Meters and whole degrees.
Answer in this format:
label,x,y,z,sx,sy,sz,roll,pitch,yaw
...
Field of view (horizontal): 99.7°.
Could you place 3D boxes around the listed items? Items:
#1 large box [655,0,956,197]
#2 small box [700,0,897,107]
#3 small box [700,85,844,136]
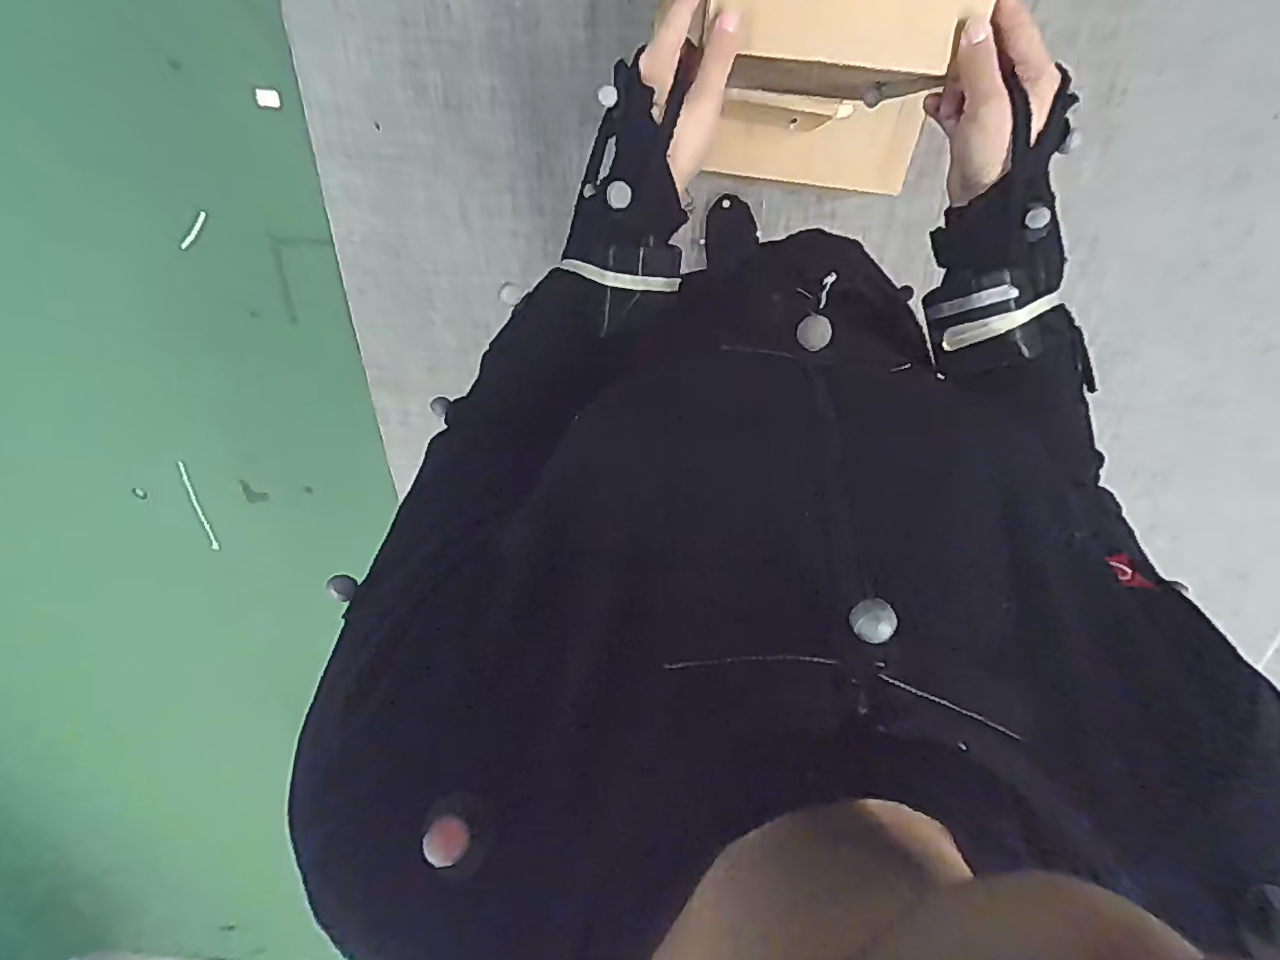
label,x,y,z,sx,sy,sz,roll,pitch,yaw
large box,0.240,-0.674,0.921,0.408,0.320,0.320,7,118,1
small box,0.159,-0.505,0.559,0.179,0.176,0.168,8,116,1
small box,0.178,-0.564,0.710,0.179,0.176,0.168,9,116,2
